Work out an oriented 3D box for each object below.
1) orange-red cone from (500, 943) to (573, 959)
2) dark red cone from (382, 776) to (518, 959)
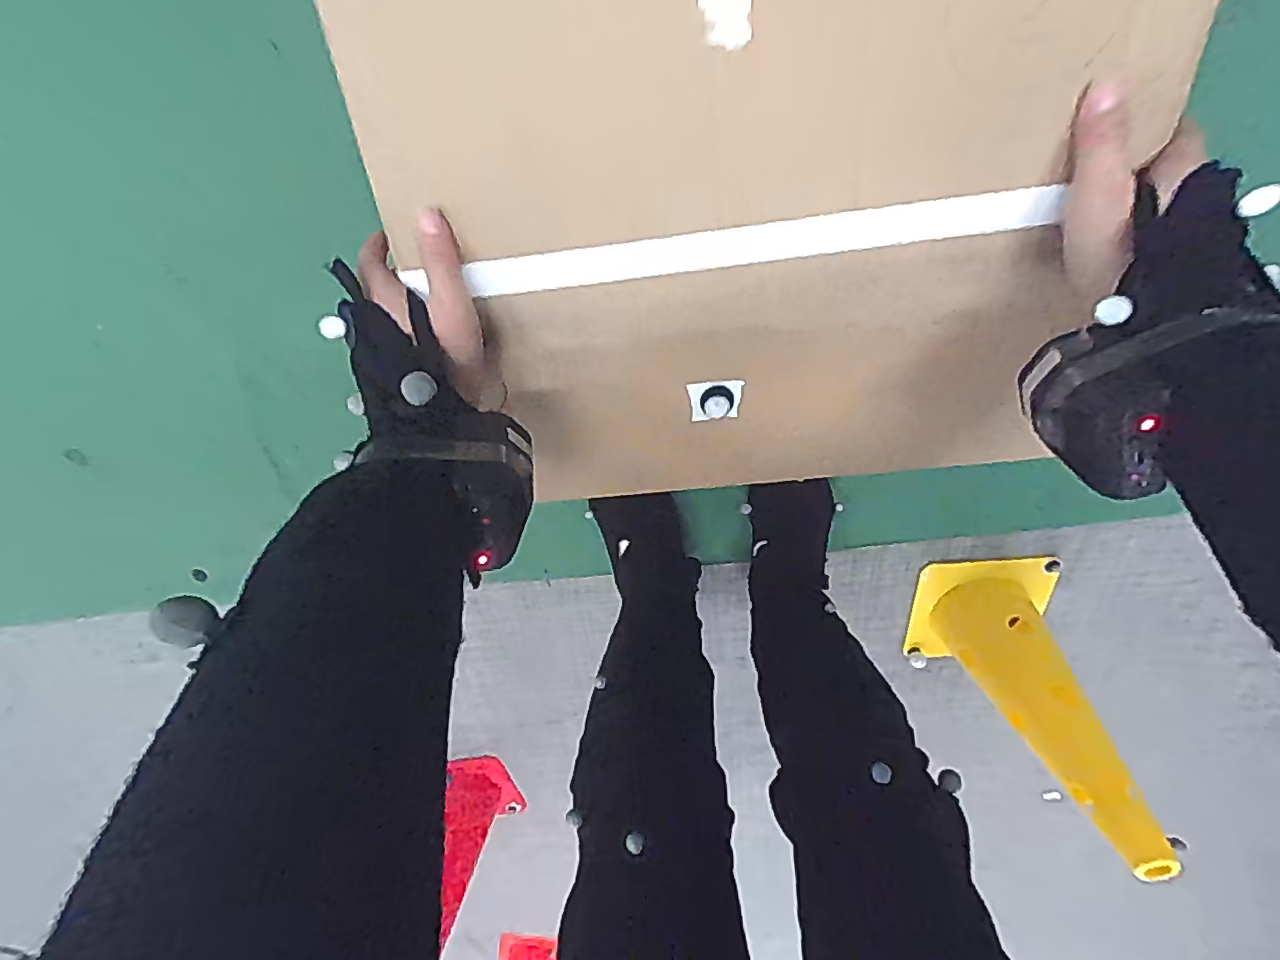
[{"bbox_3d":[-0.306,1.447,1.379,0.199,0.360,0.198,12,119,-3],"label":"orange-red cone"},{"bbox_3d":[-0.372,0.738,0.941,0.202,0.394,0.201,-13,116,10],"label":"dark red cone"}]
